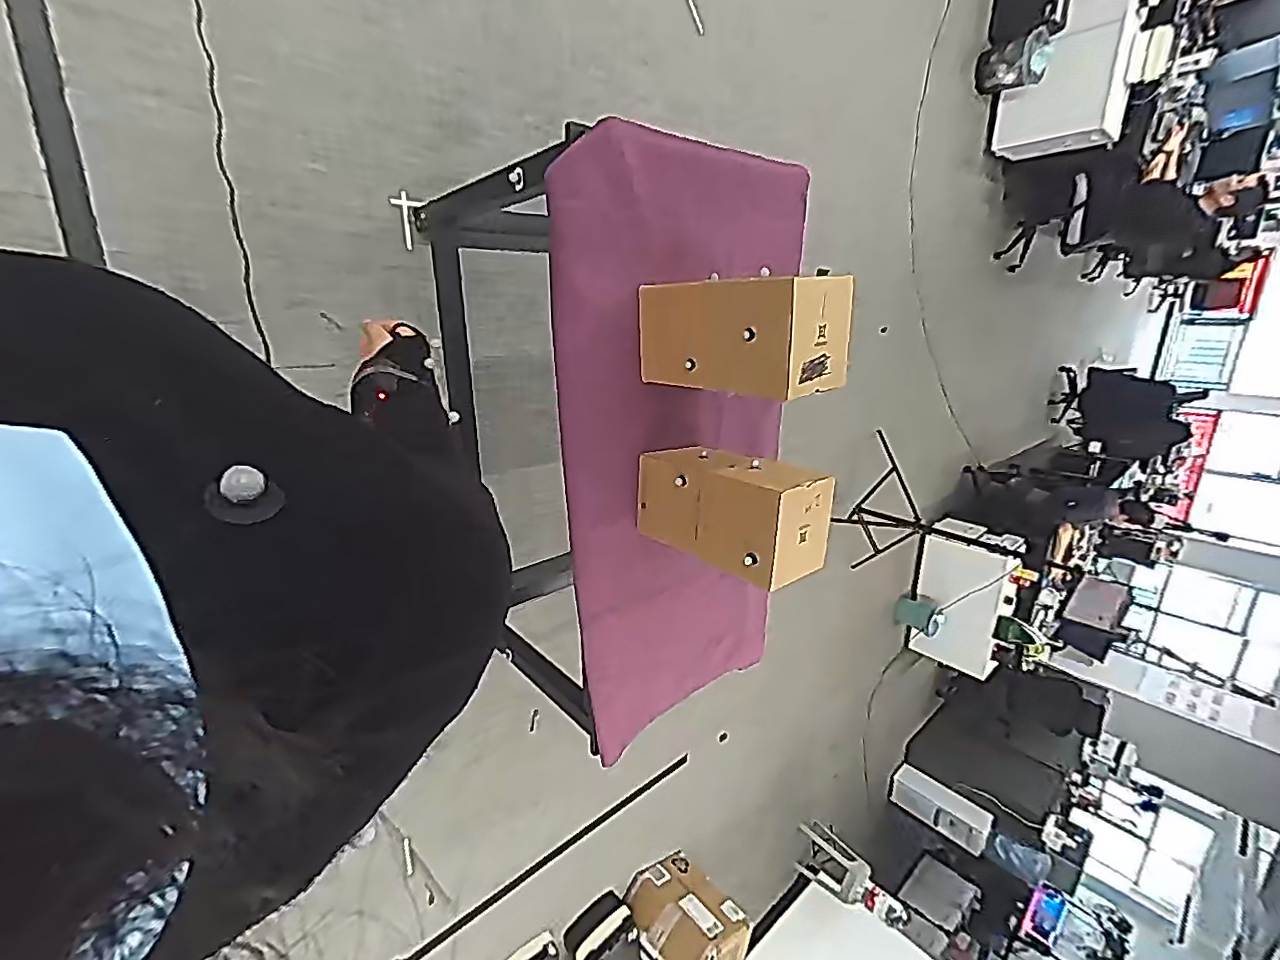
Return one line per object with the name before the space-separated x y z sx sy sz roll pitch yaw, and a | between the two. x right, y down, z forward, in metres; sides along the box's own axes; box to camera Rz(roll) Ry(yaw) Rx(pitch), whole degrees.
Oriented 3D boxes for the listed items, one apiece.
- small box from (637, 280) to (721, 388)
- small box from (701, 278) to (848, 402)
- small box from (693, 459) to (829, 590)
small box | 0.107 -0.273 1.003 0.168 0.176 0.179 -18 115 -38
small box | 0.213 -0.235 0.883 0.168 0.176 0.179 -18 114 -39
small box | 0.211 0.070 0.970 0.168 0.176 0.179 -11 110 -41
